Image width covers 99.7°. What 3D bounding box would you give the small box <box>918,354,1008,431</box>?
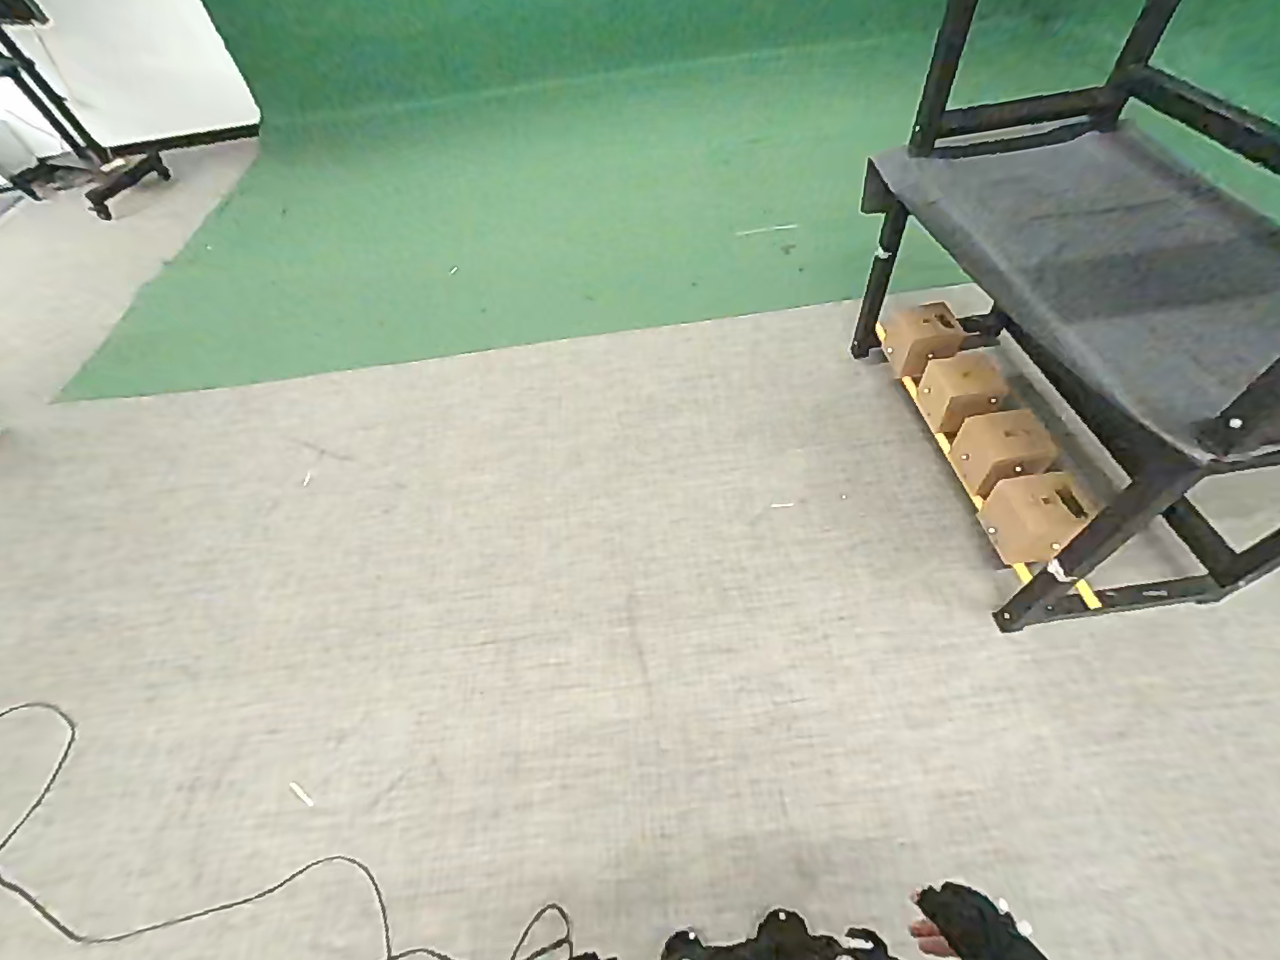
[{"bbox_3d":[1.003,-0.270,1.704,0.179,0.176,0.168,-8,53,3],"label":"small box"}]

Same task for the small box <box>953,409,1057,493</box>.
[{"bbox_3d":[1.032,-0.078,1.553,0.179,0.176,0.168,-9,52,2],"label":"small box"}]
